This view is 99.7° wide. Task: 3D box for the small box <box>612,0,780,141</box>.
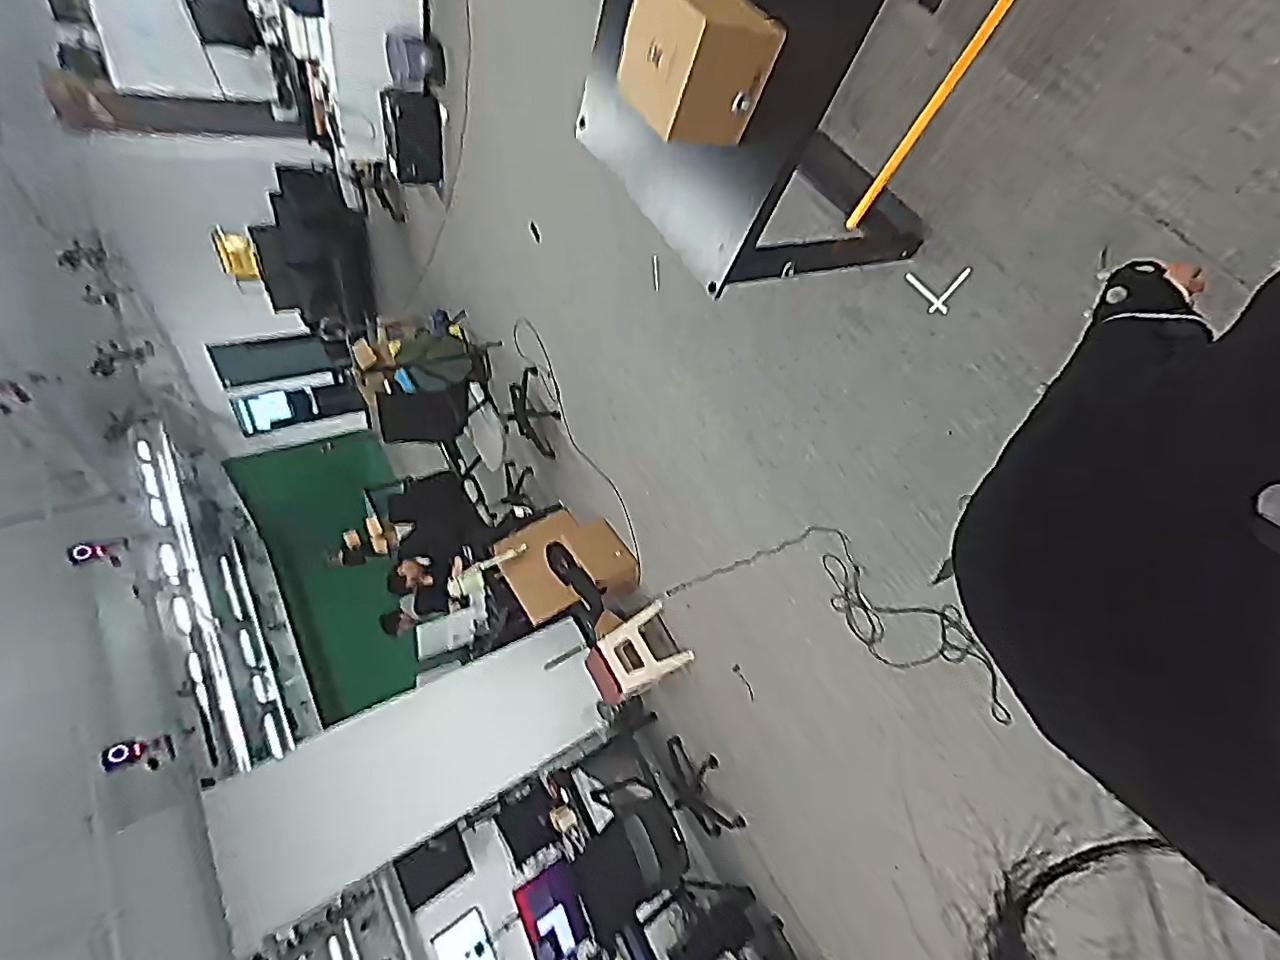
[{"bbox_3d":[0.084,-0.668,0.864,0.179,0.176,0.168,57,148,20],"label":"small box"}]
